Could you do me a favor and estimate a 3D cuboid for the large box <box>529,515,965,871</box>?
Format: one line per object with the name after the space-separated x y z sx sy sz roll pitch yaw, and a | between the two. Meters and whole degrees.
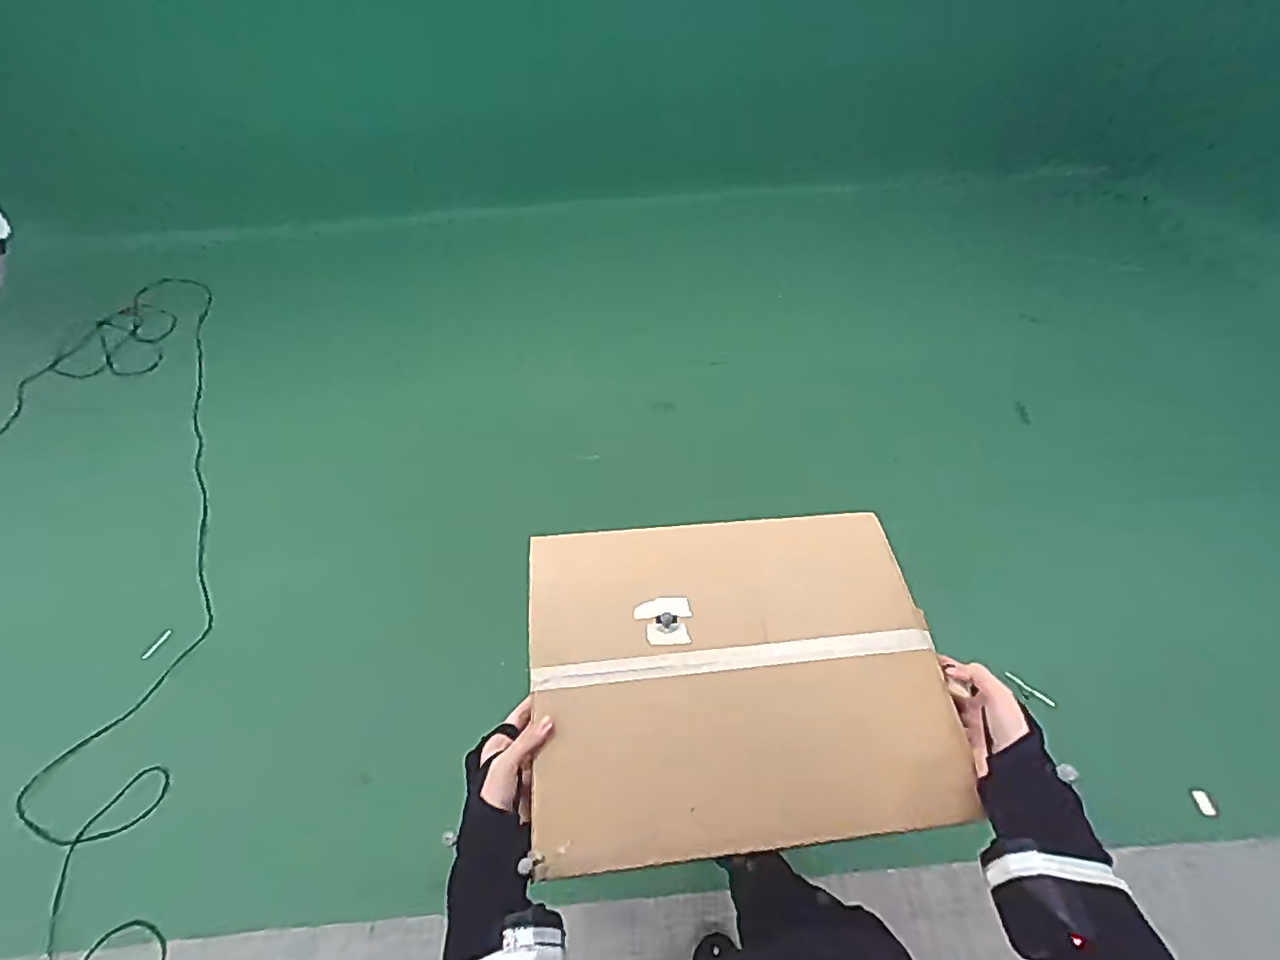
0.084 0.265 0.681 0.408 0.320 0.320 -4 57 -5 | large box
